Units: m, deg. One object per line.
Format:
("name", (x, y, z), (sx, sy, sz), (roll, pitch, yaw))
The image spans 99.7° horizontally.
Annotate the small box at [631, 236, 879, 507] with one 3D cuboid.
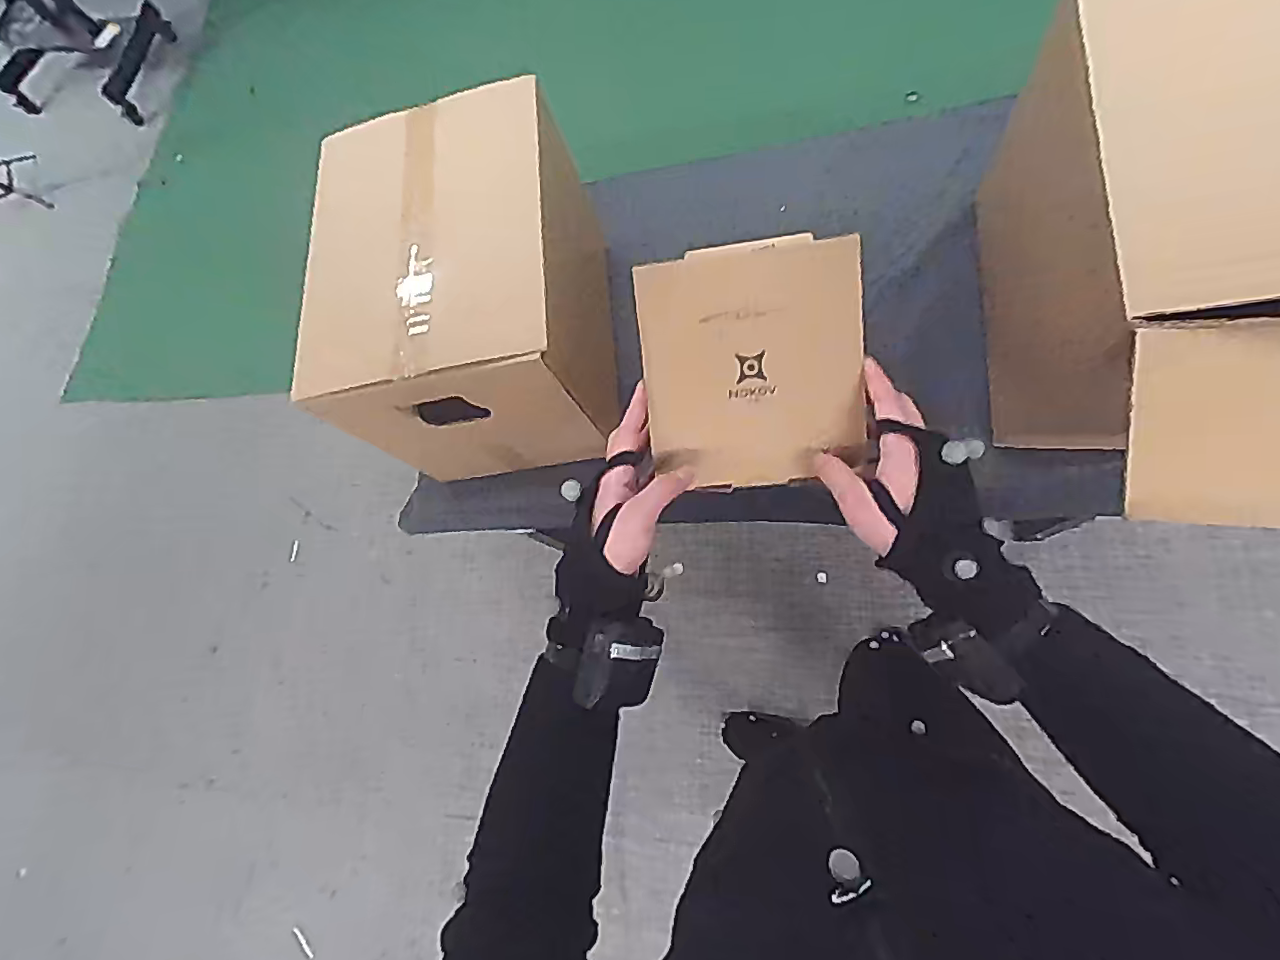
("small box", (0.091, -0.088, 0.458), (0.168, 0.176, 0.179), (-6, 102, 7))
